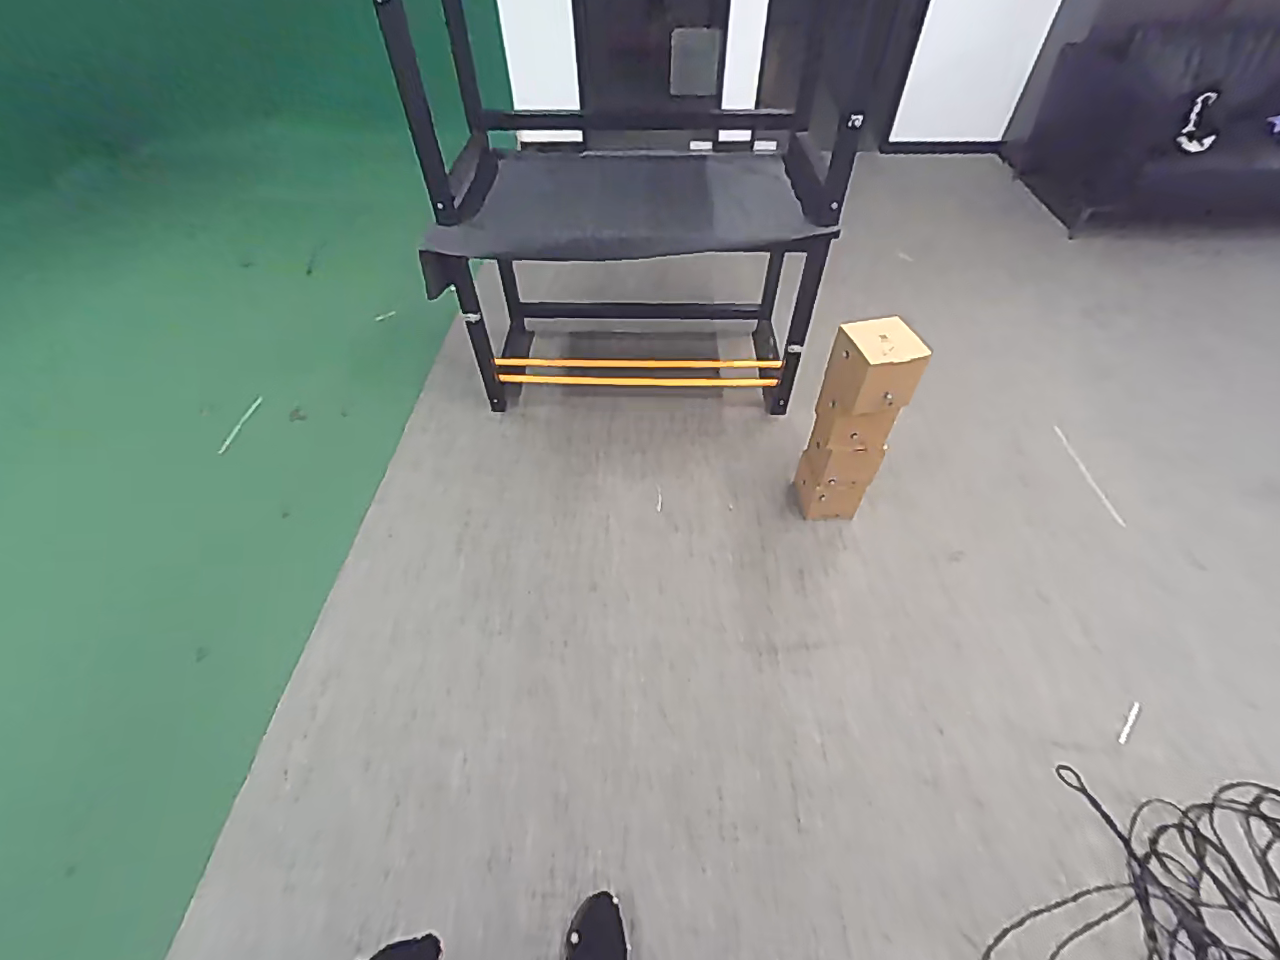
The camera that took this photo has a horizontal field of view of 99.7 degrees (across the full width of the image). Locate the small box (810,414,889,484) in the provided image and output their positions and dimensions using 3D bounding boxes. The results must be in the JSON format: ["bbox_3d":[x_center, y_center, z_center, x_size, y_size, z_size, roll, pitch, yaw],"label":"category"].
[{"bbox_3d":[0.637,-0.101,1.668,0.168,0.176,0.179,-1,49,0],"label":"small box"}]

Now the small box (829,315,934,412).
[{"bbox_3d":[0.618,-0.303,1.413,0.168,0.176,0.179,-10,51,-6],"label":"small box"}]

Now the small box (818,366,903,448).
[{"bbox_3d":[0.622,-0.211,1.549,0.168,0.176,0.179,0,50,2],"label":"small box"}]
